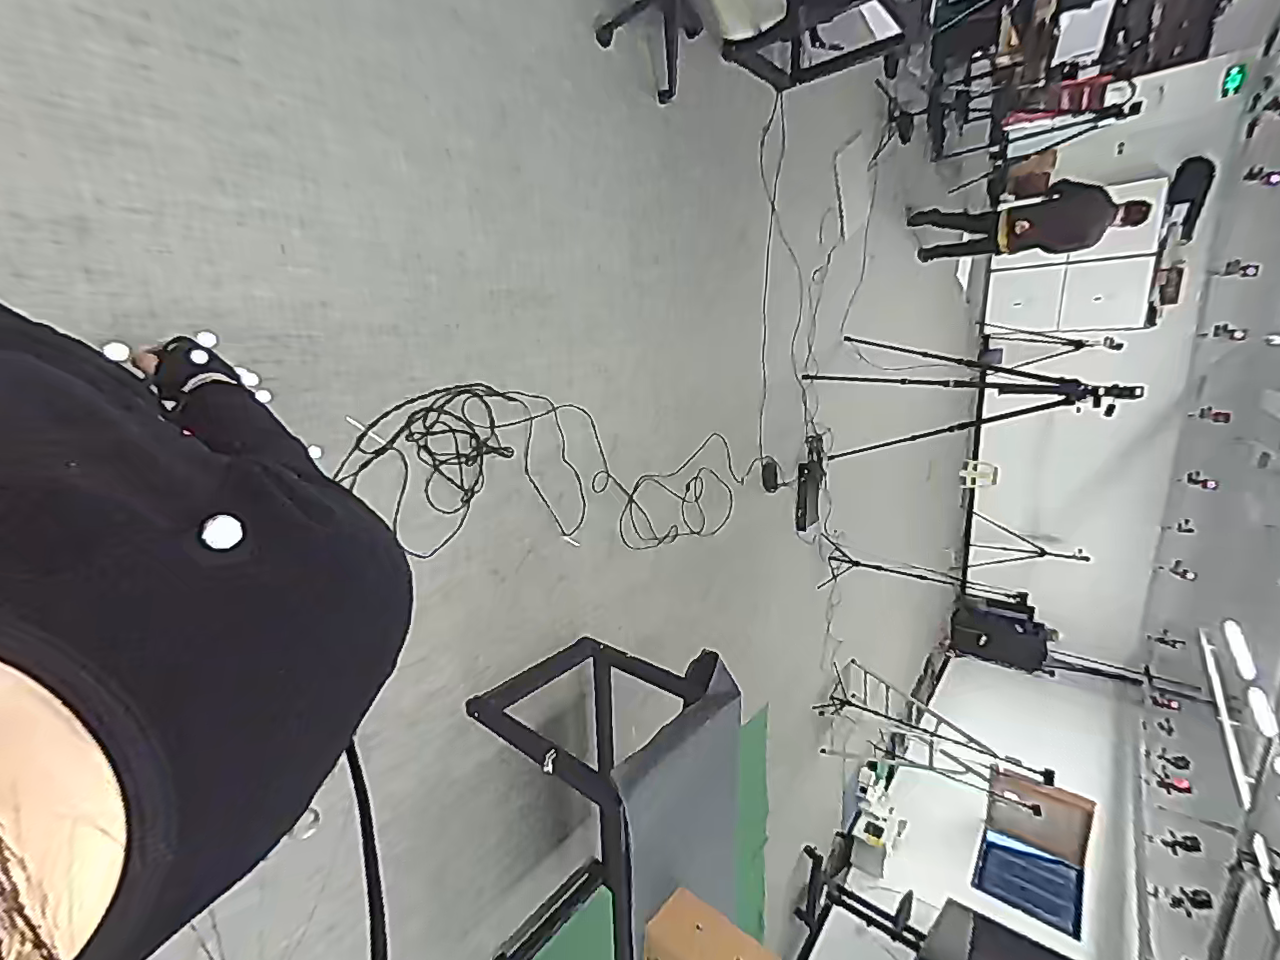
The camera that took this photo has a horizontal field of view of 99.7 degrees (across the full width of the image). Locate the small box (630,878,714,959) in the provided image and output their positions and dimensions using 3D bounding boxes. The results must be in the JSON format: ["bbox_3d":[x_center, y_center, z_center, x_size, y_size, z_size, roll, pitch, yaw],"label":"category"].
[{"bbox_3d":[0.092,1.306,1.552,0.179,0.176,0.168,-10,105,-50],"label":"small box"}]
